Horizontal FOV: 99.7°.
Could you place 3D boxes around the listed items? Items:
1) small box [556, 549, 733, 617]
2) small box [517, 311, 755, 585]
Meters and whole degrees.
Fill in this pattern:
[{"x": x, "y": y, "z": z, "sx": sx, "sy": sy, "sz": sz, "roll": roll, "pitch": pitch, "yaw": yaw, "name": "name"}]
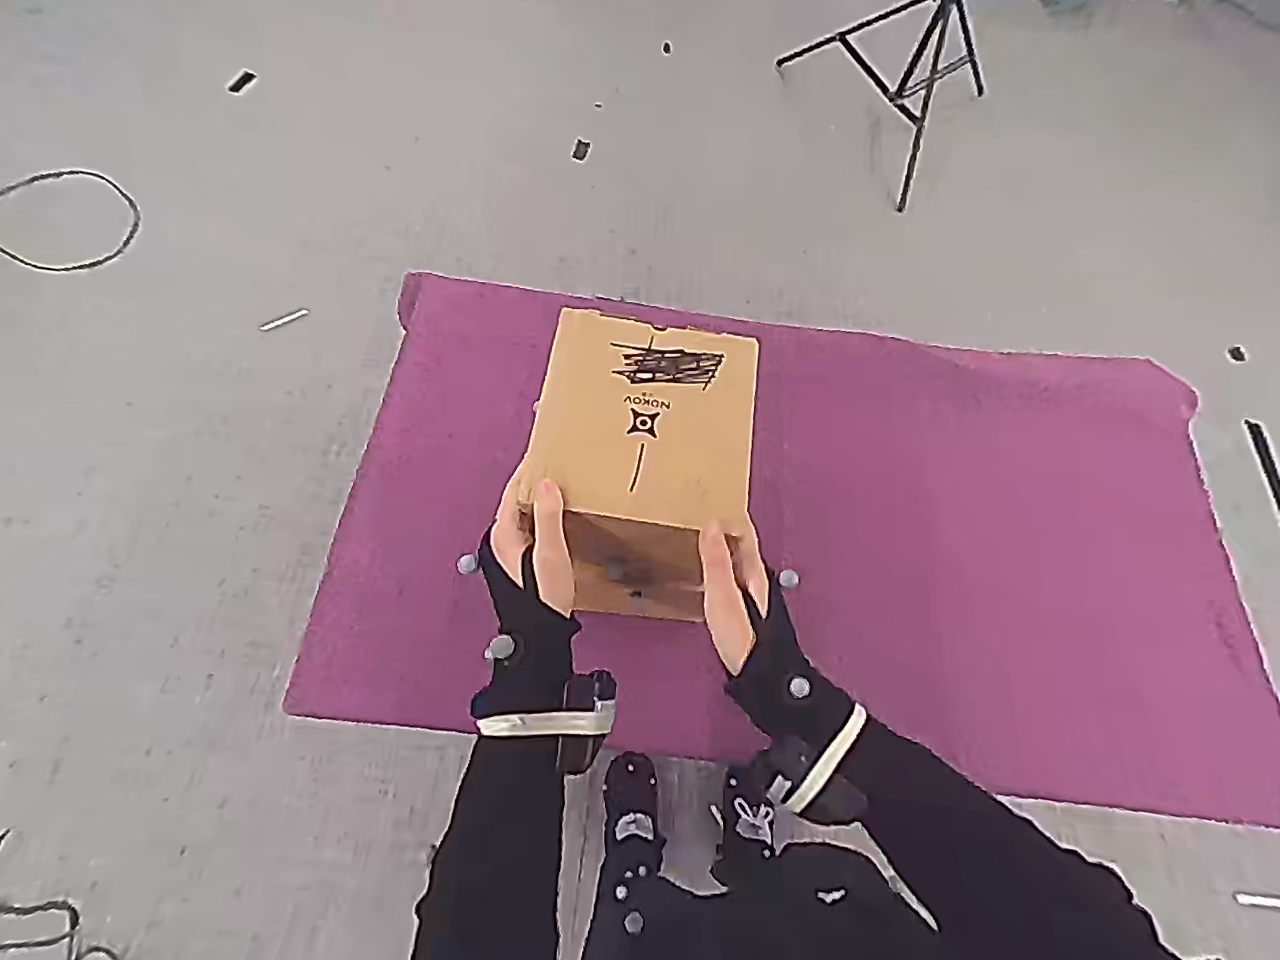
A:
[{"x": 0.005, "y": 0.062, "z": 0.635, "sx": 0.179, "sy": 0.176, "sz": 0.168, "roll": 6, "pitch": 67, "yaw": -2, "name": "small box"}, {"x": -0.003, "y": -0.018, "z": 0.488, "sx": 0.168, "sy": 0.176, "sz": 0.179, "roll": 9, "pitch": 67, "yaw": -1, "name": "small box"}]
